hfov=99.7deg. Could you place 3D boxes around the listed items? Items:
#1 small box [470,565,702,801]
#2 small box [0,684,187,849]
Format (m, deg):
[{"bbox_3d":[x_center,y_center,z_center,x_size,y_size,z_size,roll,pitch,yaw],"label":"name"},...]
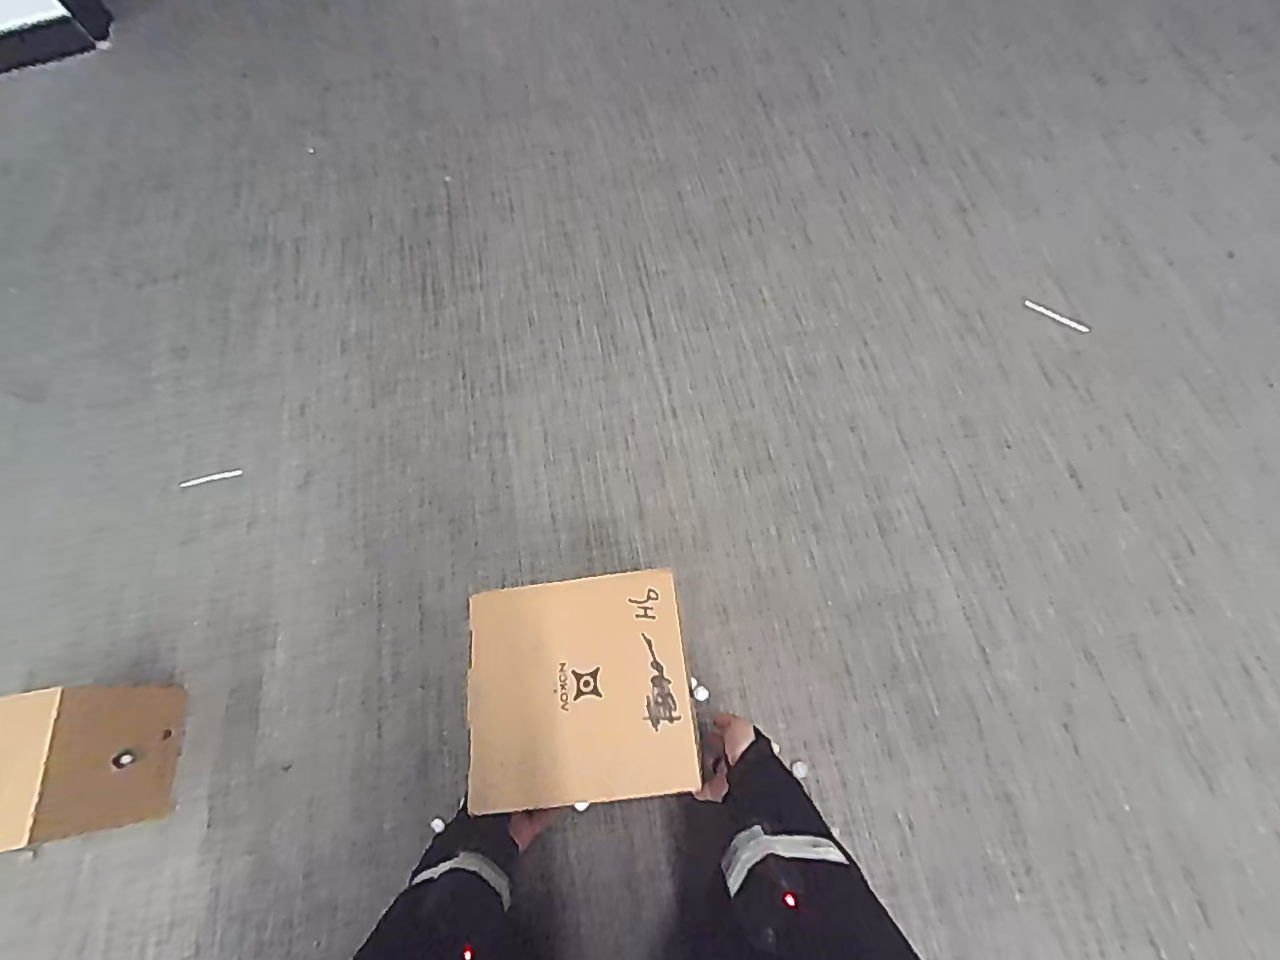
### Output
[{"bbox_3d":[-0.040,0.187,0.503,0.179,0.176,0.168,-8,68,4],"label":"small box"},{"bbox_3d":[-0.734,0.361,0.688,0.179,0.176,0.168,-11,66,2],"label":"small box"}]
